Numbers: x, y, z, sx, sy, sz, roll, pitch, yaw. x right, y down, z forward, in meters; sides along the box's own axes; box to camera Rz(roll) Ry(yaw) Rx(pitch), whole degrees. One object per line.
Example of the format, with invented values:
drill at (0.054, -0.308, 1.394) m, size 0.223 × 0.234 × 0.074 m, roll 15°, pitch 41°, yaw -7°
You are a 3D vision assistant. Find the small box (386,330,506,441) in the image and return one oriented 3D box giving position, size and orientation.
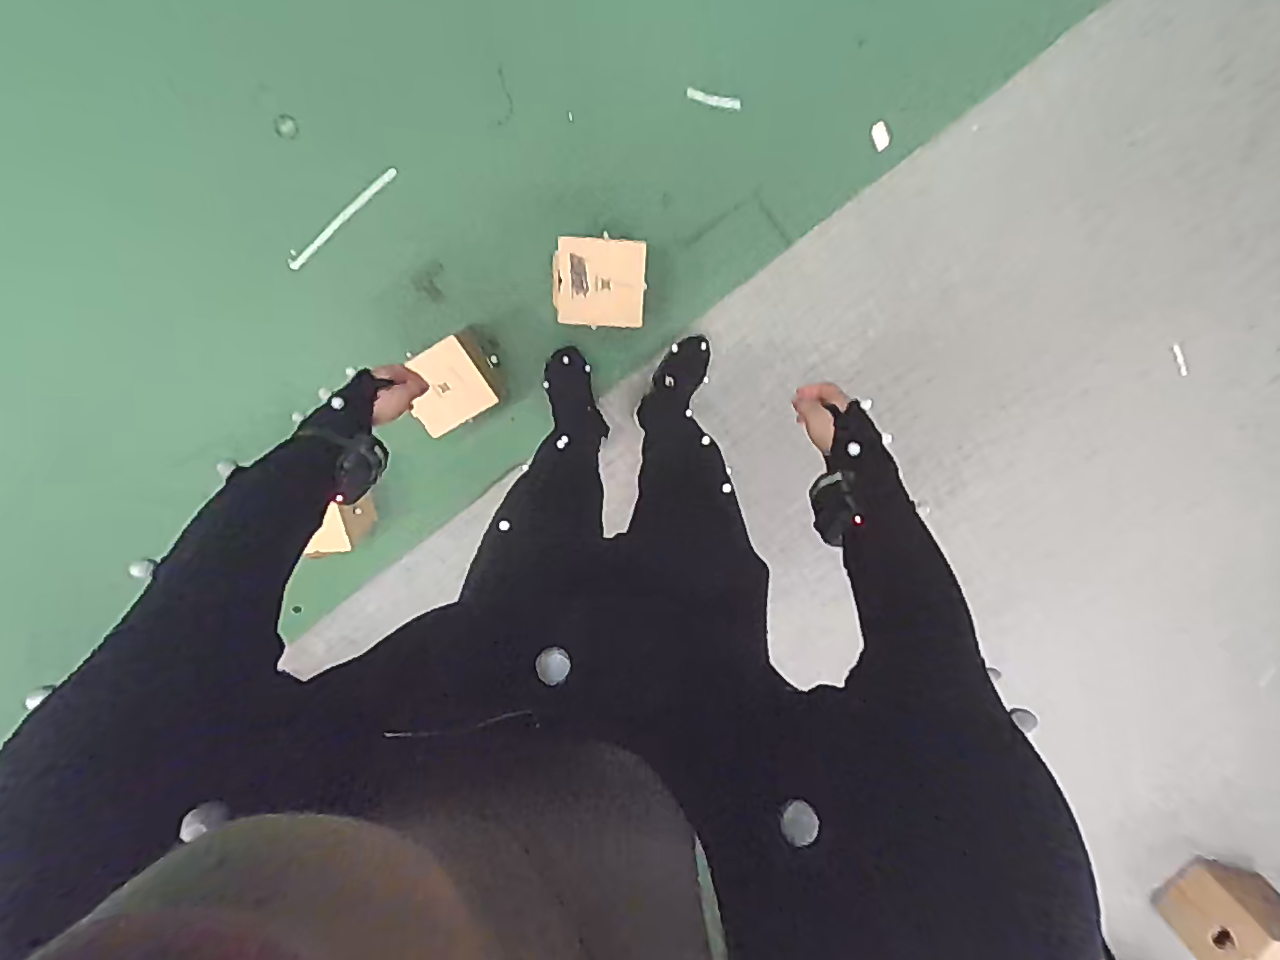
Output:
small box at (-0.422, -0.217, 1.213) m, size 0.179 × 0.176 × 0.168 m, roll -29°, pitch 113°, yaw 5°

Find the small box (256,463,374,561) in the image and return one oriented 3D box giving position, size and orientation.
small box at (-0.768, 0.074, 1.301) m, size 0.168 × 0.176 × 0.179 m, roll -5°, pitch 113°, yaw -3°

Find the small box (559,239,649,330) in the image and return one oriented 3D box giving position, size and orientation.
small box at (-0.081, -0.419, 1.161) m, size 0.179 × 0.176 × 0.168 m, roll 1°, pitch 112°, yaw -7°
